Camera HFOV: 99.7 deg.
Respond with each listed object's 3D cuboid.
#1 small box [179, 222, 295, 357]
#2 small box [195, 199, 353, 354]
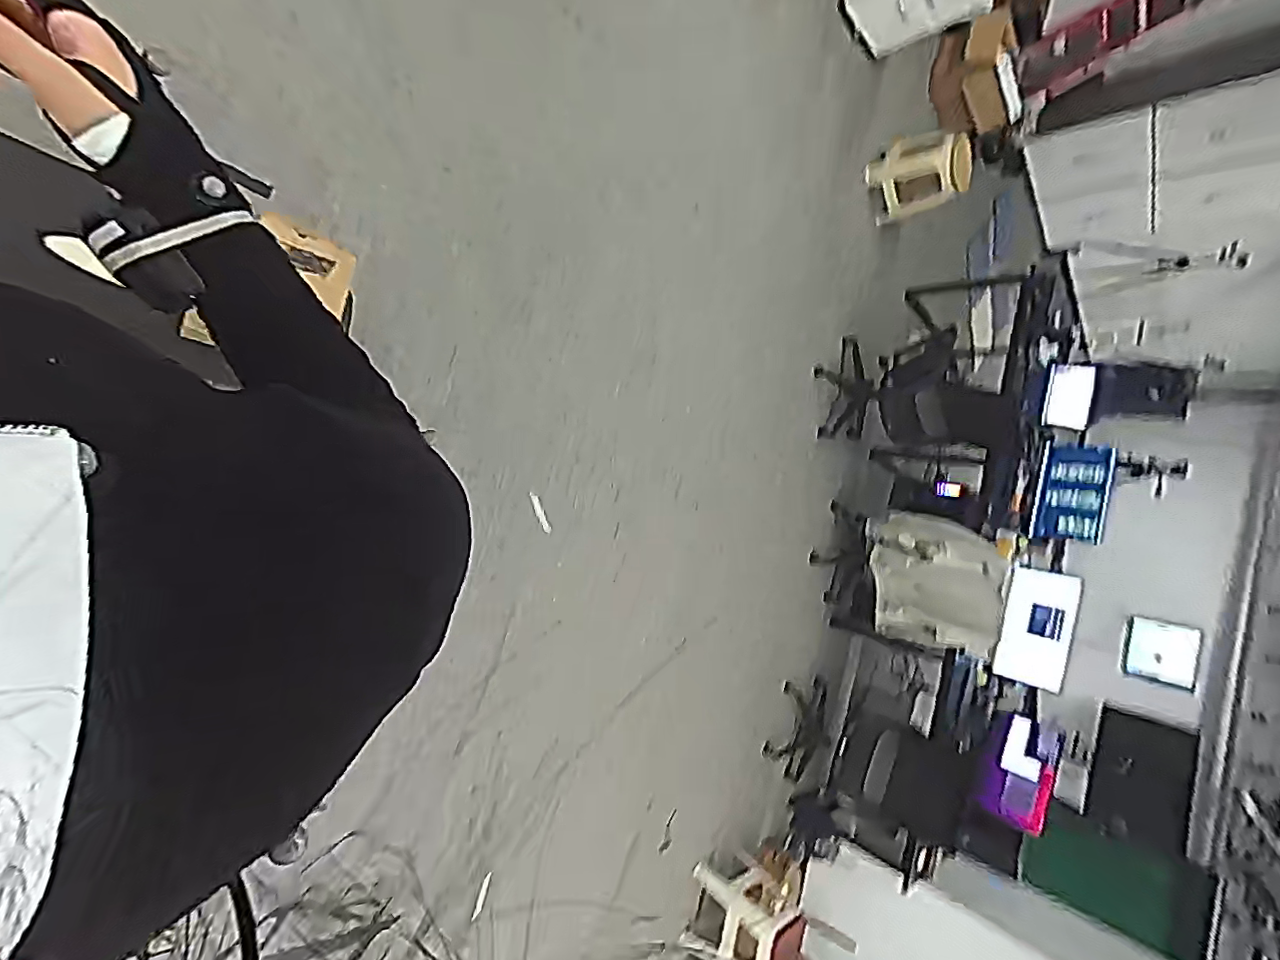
[{"bbox_3d":[-0.727,-0.339,1.001,0.168,0.176,0.179,17,85,-44],"label":"small box"},{"bbox_3d":[-0.606,-0.320,0.891,0.168,0.176,0.179,17,86,-44],"label":"small box"}]
